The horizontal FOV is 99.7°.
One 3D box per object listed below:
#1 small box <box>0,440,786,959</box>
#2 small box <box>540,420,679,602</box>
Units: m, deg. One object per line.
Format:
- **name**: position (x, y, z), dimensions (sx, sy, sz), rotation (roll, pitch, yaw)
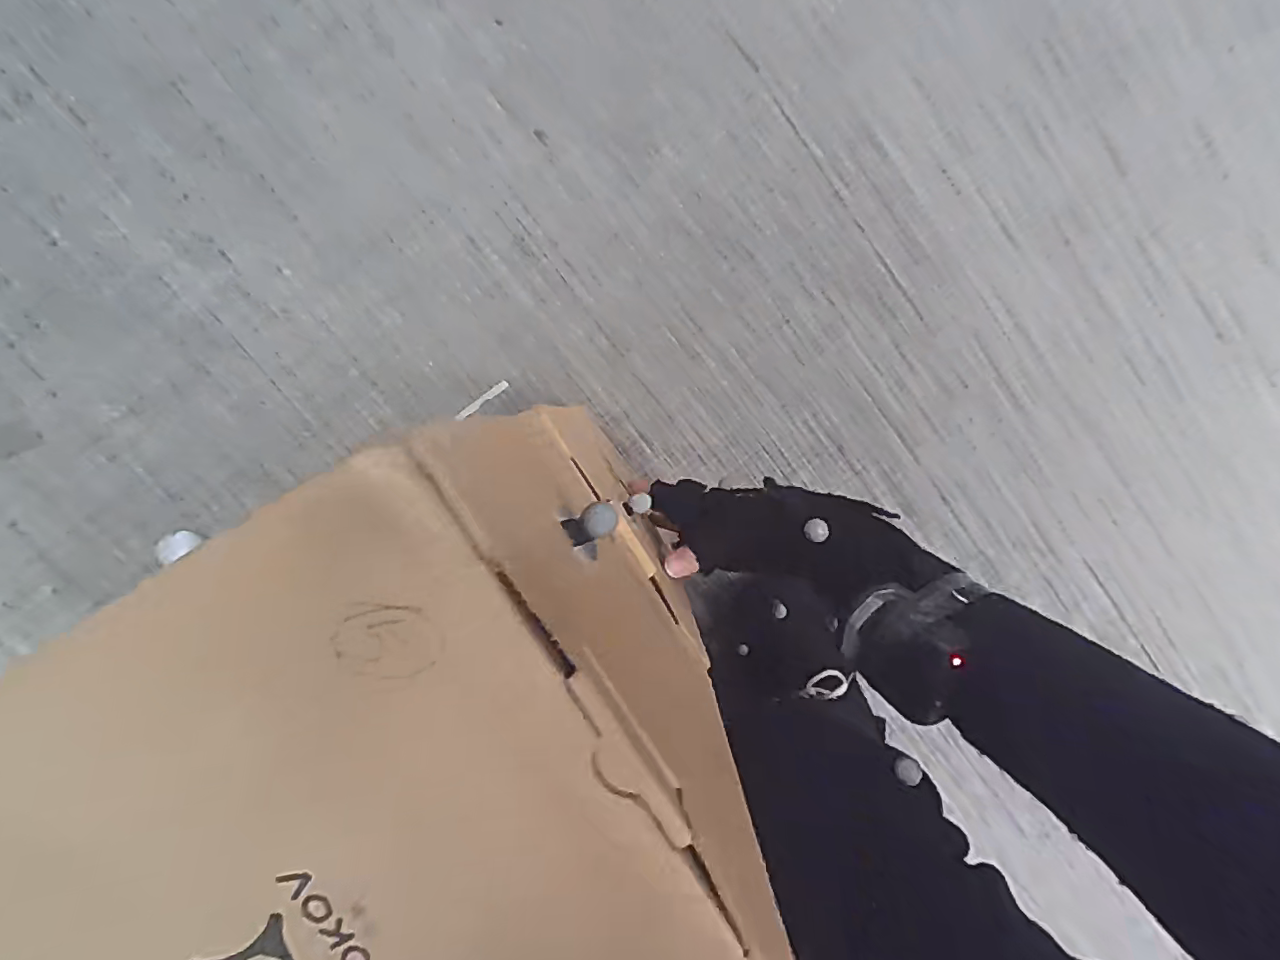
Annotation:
- **small box**: position (-0.076, 0.096, 0.200), dimensions (0.179, 0.176, 0.168), rotation (-32, 96, 4)
- **small box**: position (-0.083, 0.052, 0.524), dimensions (0.179, 0.176, 0.168), rotation (-32, 96, 4)
